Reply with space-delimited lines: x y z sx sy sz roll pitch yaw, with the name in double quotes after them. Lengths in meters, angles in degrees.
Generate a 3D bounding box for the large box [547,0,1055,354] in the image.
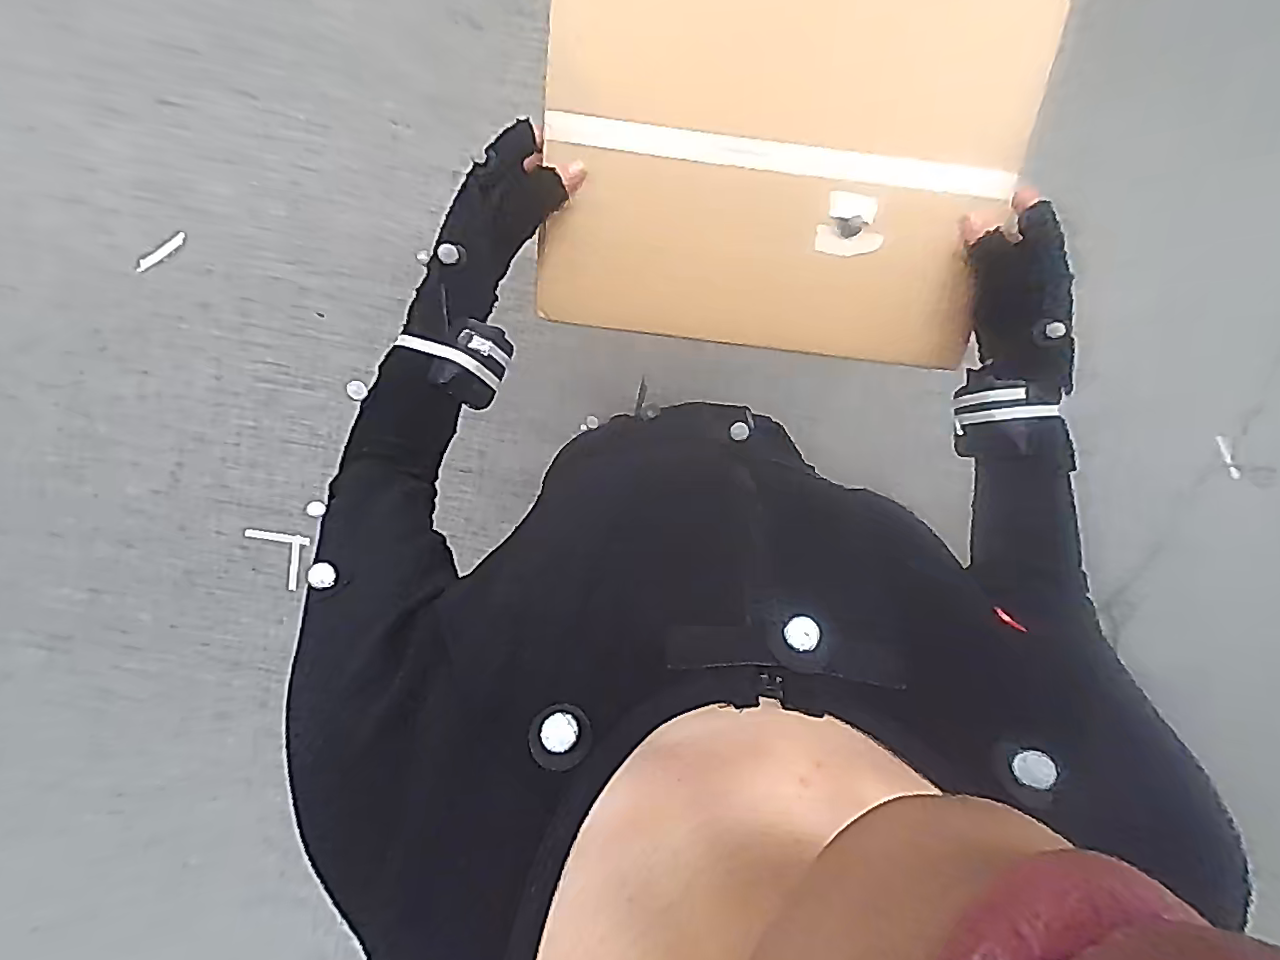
0.119 -0.328 0.604 0.408 0.320 0.320 6 109 -3 "large box"
